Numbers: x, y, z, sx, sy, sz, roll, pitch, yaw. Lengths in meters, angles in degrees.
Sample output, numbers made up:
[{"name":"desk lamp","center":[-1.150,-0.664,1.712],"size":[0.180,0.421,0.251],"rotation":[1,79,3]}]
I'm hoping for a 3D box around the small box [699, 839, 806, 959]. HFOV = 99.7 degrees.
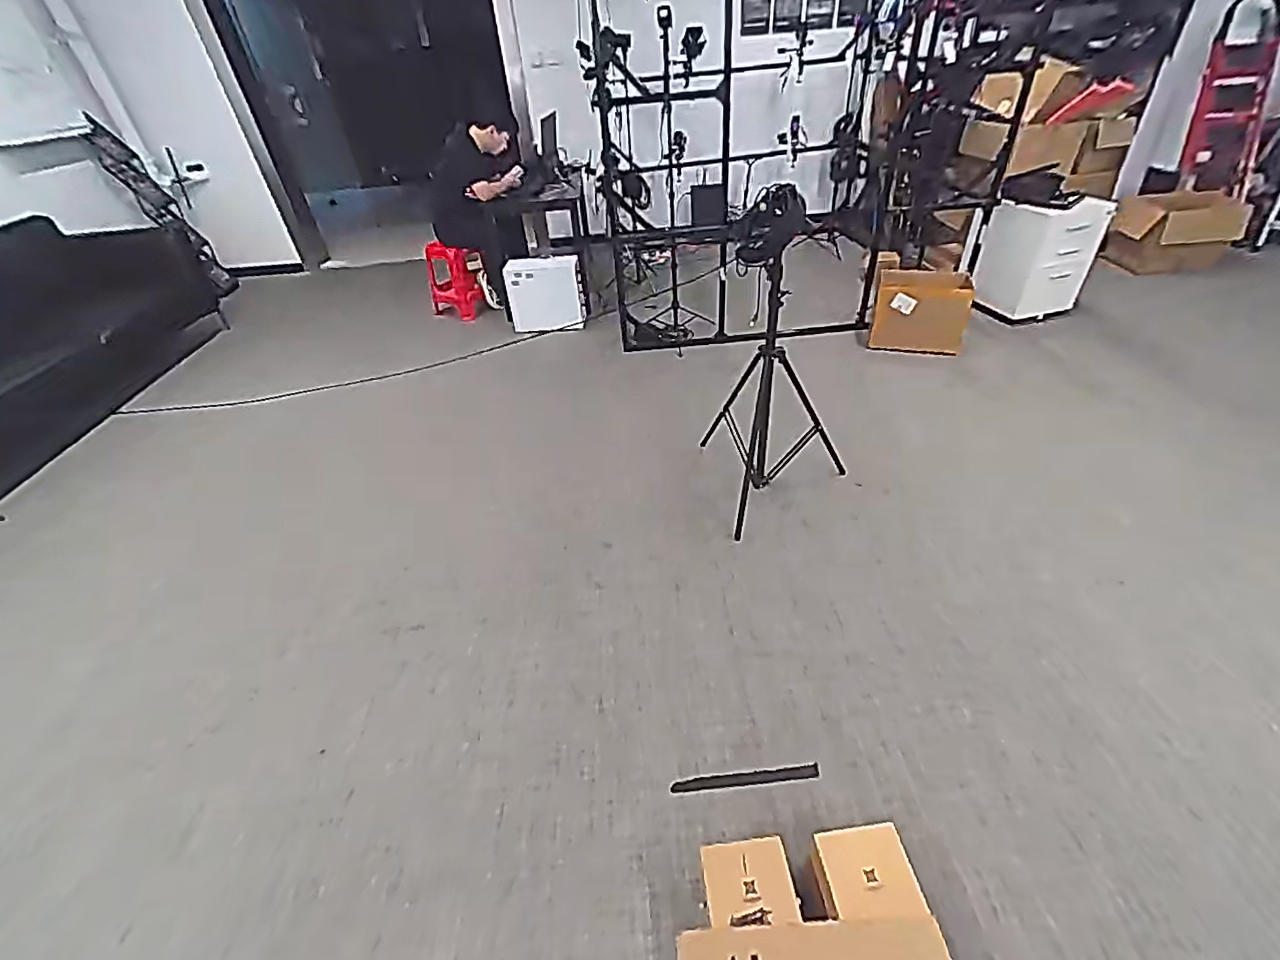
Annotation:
[{"name":"small box","center":[0.212,0.840,1.059],"size":[0.168,0.176,0.179],"rotation":[-6,37,-1]}]
